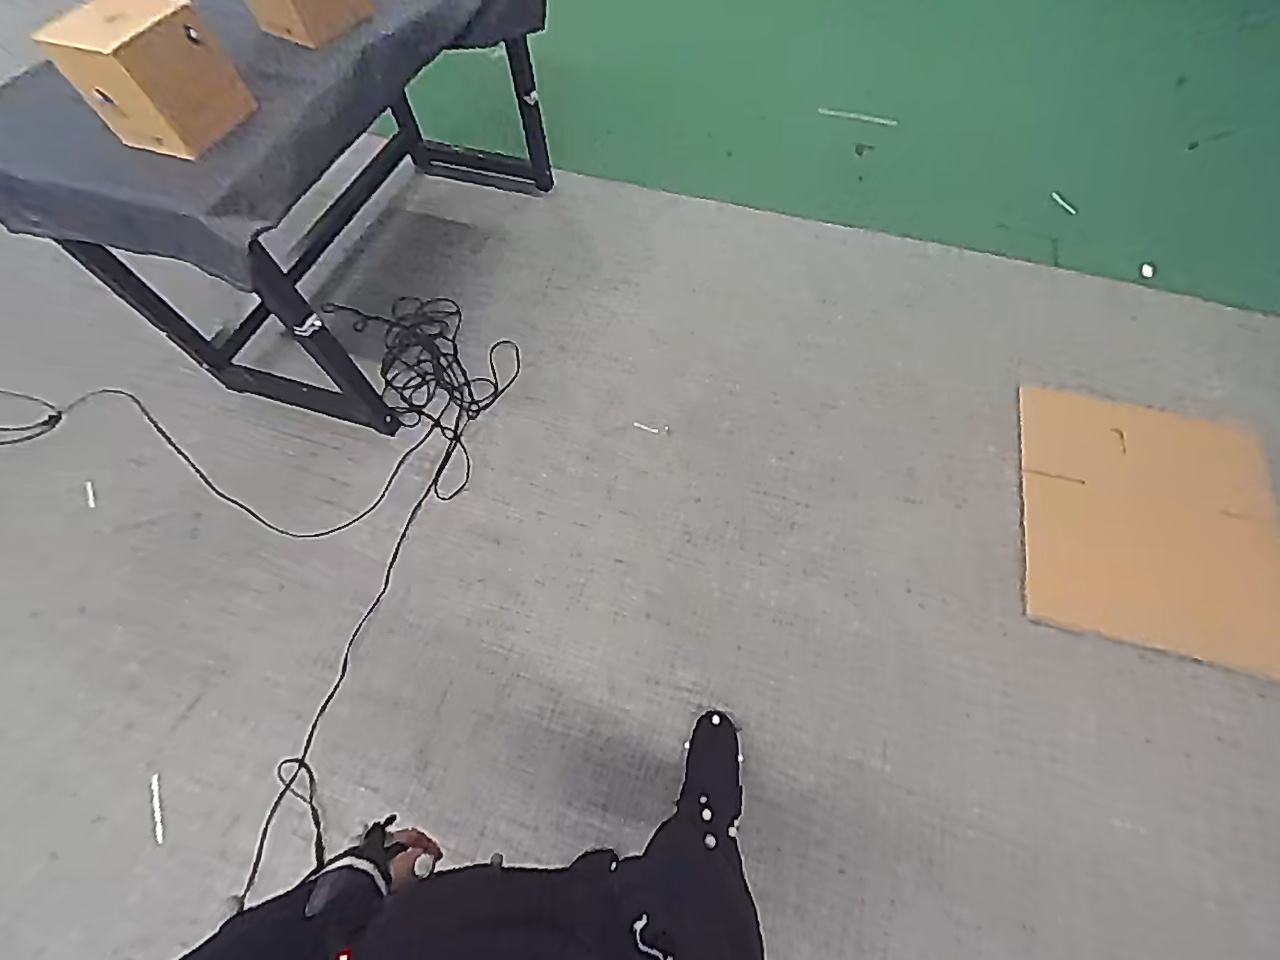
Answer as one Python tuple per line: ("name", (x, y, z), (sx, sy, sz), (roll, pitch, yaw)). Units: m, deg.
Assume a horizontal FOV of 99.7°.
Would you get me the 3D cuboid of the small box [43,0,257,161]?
("small box", (-0.819, -0.684, 0.928), (0.168, 0.176, 0.179), (17, 64, 11))
